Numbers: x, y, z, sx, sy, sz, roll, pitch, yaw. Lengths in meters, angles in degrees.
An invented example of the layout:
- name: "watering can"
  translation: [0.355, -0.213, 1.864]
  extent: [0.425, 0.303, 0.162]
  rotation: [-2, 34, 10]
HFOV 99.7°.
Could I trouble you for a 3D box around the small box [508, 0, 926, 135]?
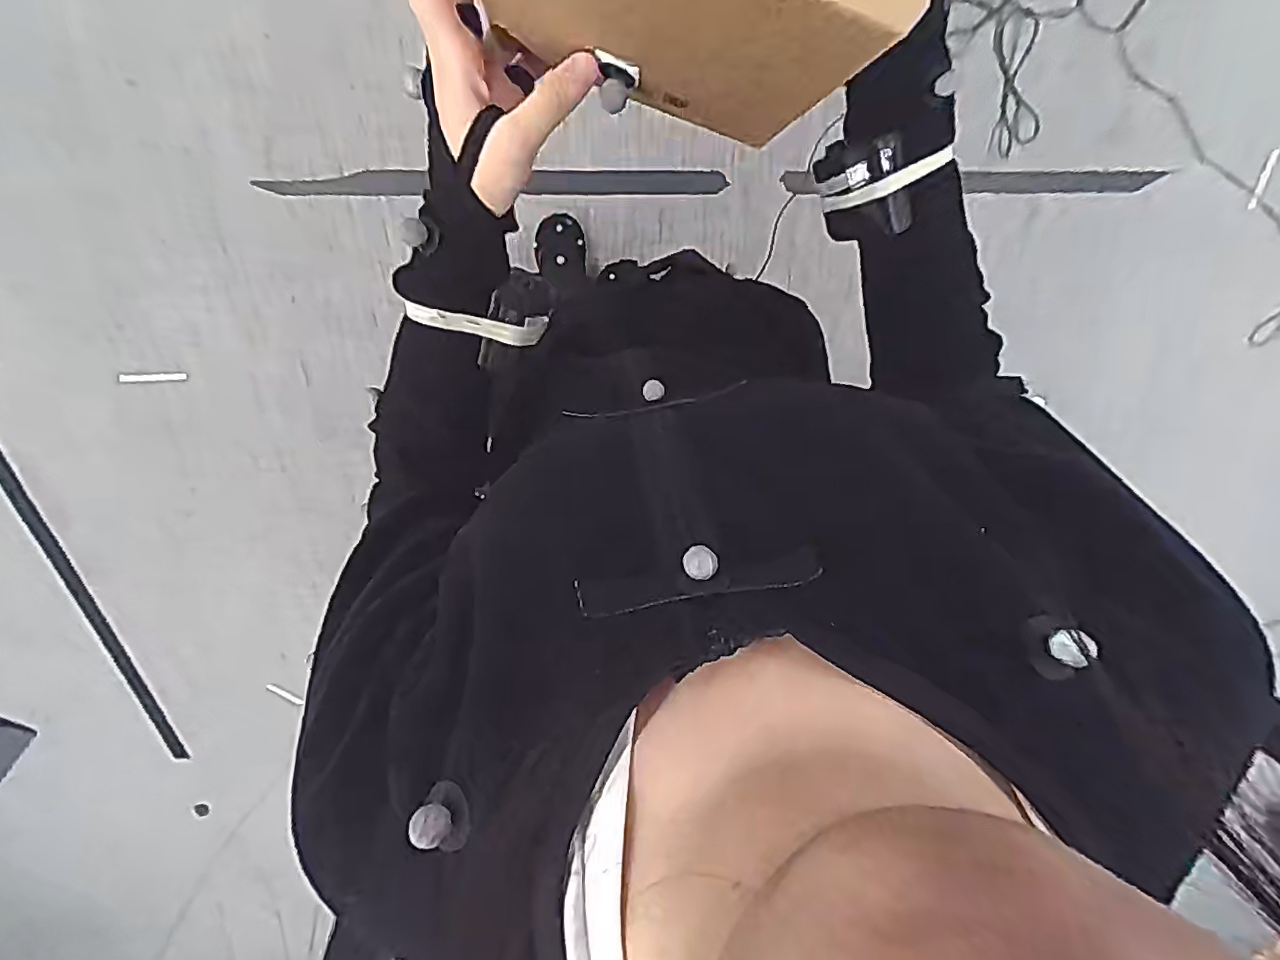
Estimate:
- name: "small box"
  translation: [0.032, -0.279, 0.220]
  extent: [0.168, 0.176, 0.179]
  rotation: [13, 108, -10]
